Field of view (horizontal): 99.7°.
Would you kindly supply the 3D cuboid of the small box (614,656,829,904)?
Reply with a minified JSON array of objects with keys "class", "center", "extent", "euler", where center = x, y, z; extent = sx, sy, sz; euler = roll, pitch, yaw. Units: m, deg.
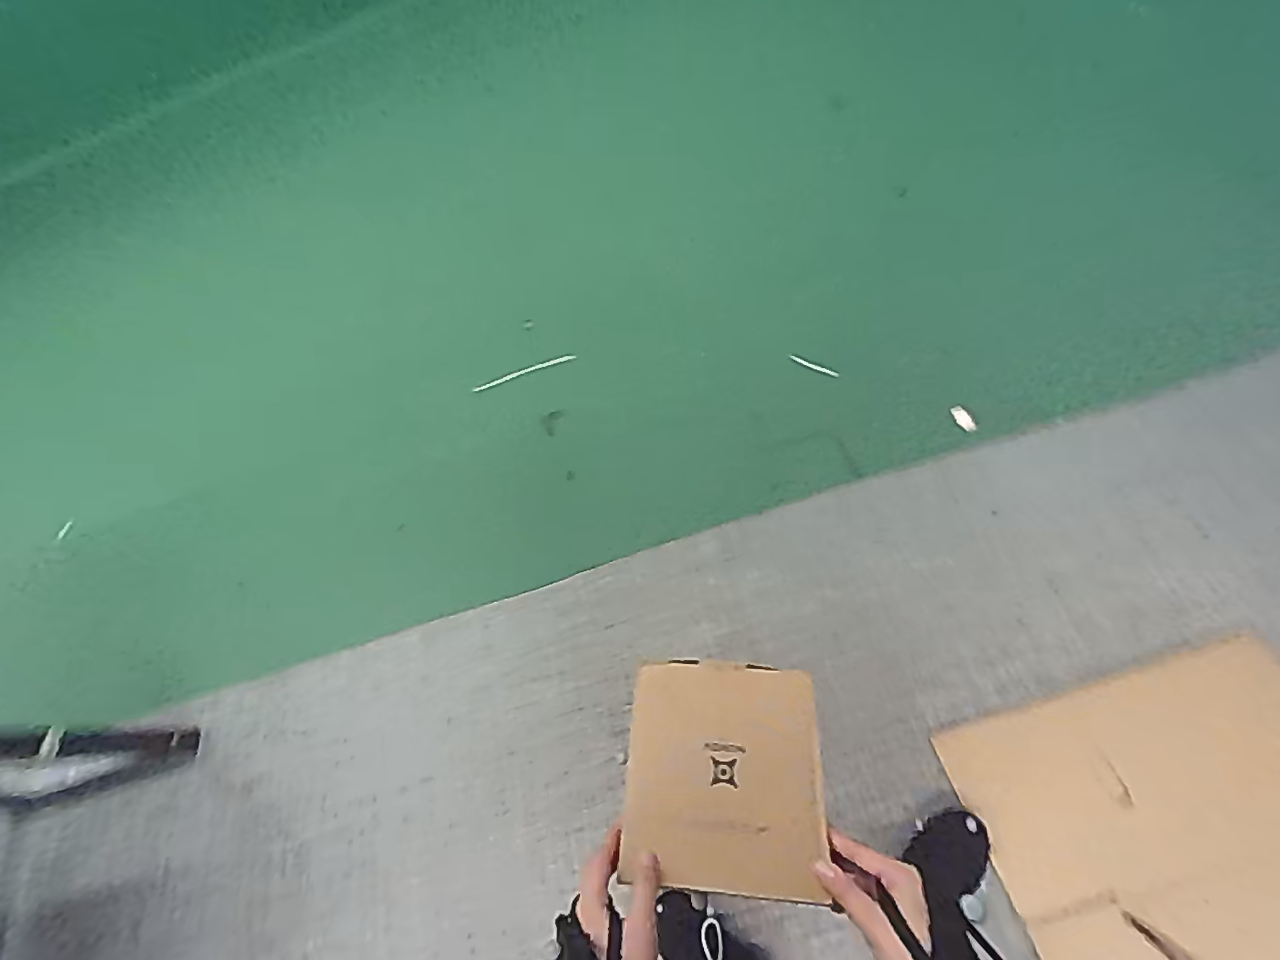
[{"class":"small box","center":[0.070,0.284,0.521],"extent":[0.168,0.176,0.179],"euler":[1,57,5]}]
